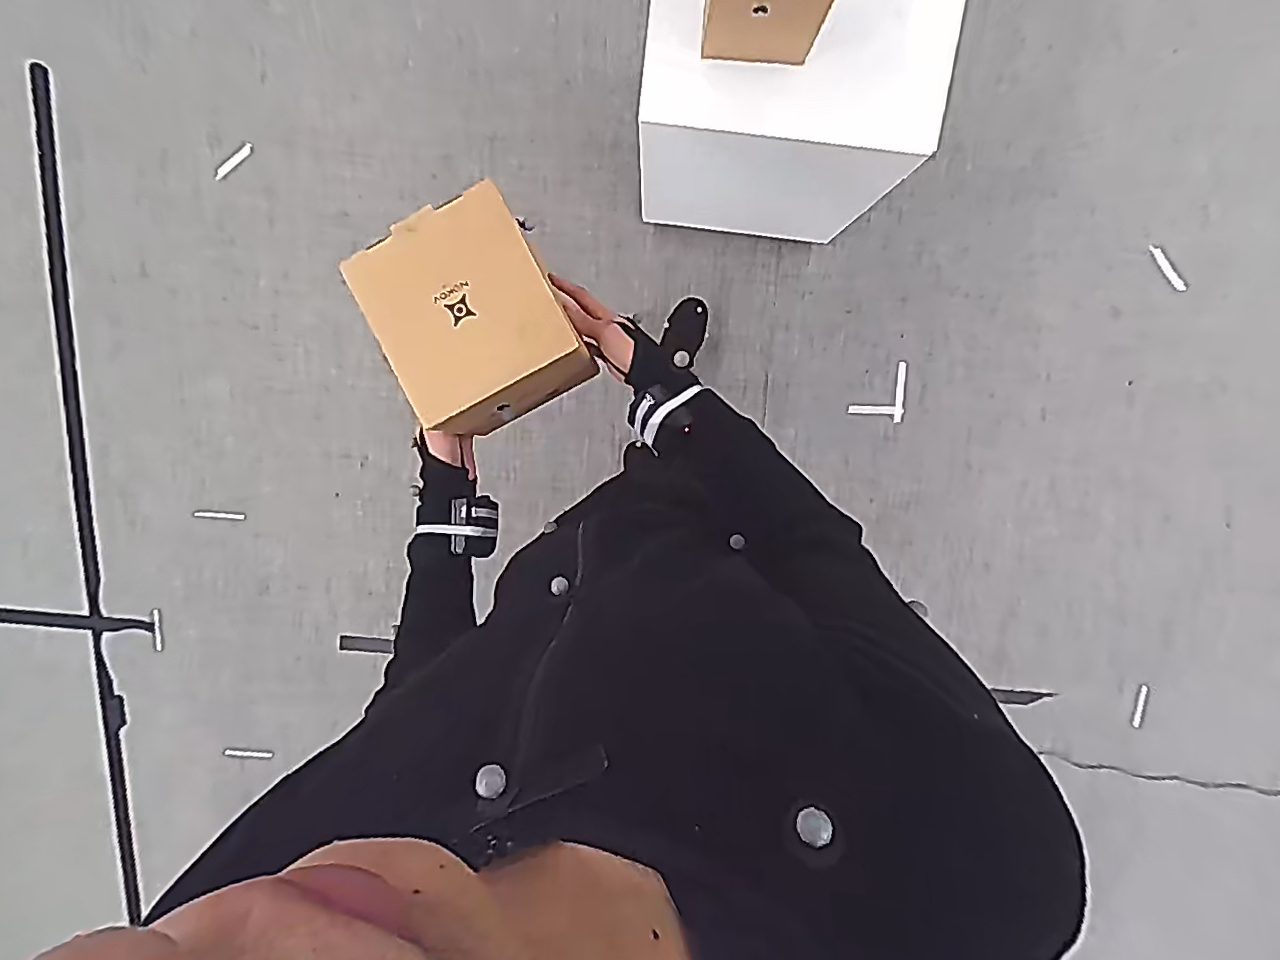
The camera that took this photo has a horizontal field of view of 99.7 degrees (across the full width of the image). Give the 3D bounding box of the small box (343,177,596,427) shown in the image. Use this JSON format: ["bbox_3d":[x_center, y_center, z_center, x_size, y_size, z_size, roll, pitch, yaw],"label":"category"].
[{"bbox_3d":[-0.161,-0.167,0.576,0.168,0.176,0.179,-28,90,3],"label":"small box"}]

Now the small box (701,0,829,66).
[{"bbox_3d":[0.190,-0.766,0.816,0.179,0.176,0.168,4,99,-1],"label":"small box"}]
